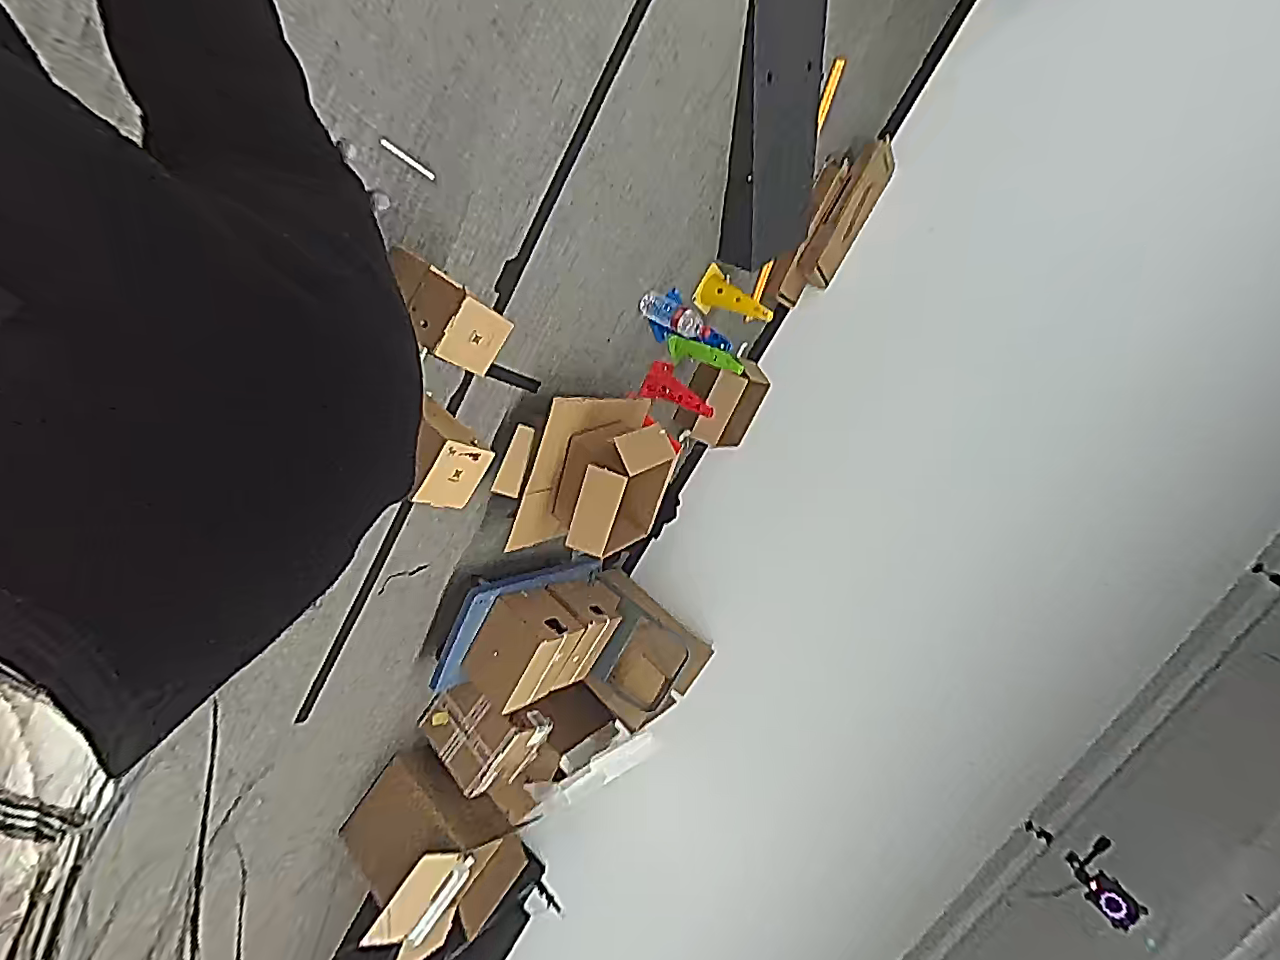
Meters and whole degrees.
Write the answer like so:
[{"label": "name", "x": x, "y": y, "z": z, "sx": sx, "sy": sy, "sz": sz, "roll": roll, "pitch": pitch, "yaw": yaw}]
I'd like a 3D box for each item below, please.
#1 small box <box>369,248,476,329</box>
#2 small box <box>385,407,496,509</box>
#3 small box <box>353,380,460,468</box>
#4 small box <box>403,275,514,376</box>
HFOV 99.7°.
[{"label": "small box", "x": -0.586, "y": -0.488, "z": 1.450, "sx": 0.179, "sy": 0.176, "sz": 0.168, "roll": -57, "pitch": 154, "yaw": 6}, {"label": "small box", "x": -0.505, "y": -0.053, "z": 1.358, "sx": 0.179, "sy": 0.176, "sz": 0.168, "roll": -56, "pitch": 153, "yaw": 7}, {"label": "small box", "x": -0.622, "y": -0.140, "z": 1.434, "sx": 0.179, "sy": 0.176, "sz": 0.168, "roll": -58, "pitch": 153, "yaw": 10}, {"label": "small box", "x": -0.467, "y": -0.398, "z": 1.387, "sx": 0.168, "sy": 0.176, "sz": 0.179, "roll": -56, "pitch": 155, "yaw": 8}]
